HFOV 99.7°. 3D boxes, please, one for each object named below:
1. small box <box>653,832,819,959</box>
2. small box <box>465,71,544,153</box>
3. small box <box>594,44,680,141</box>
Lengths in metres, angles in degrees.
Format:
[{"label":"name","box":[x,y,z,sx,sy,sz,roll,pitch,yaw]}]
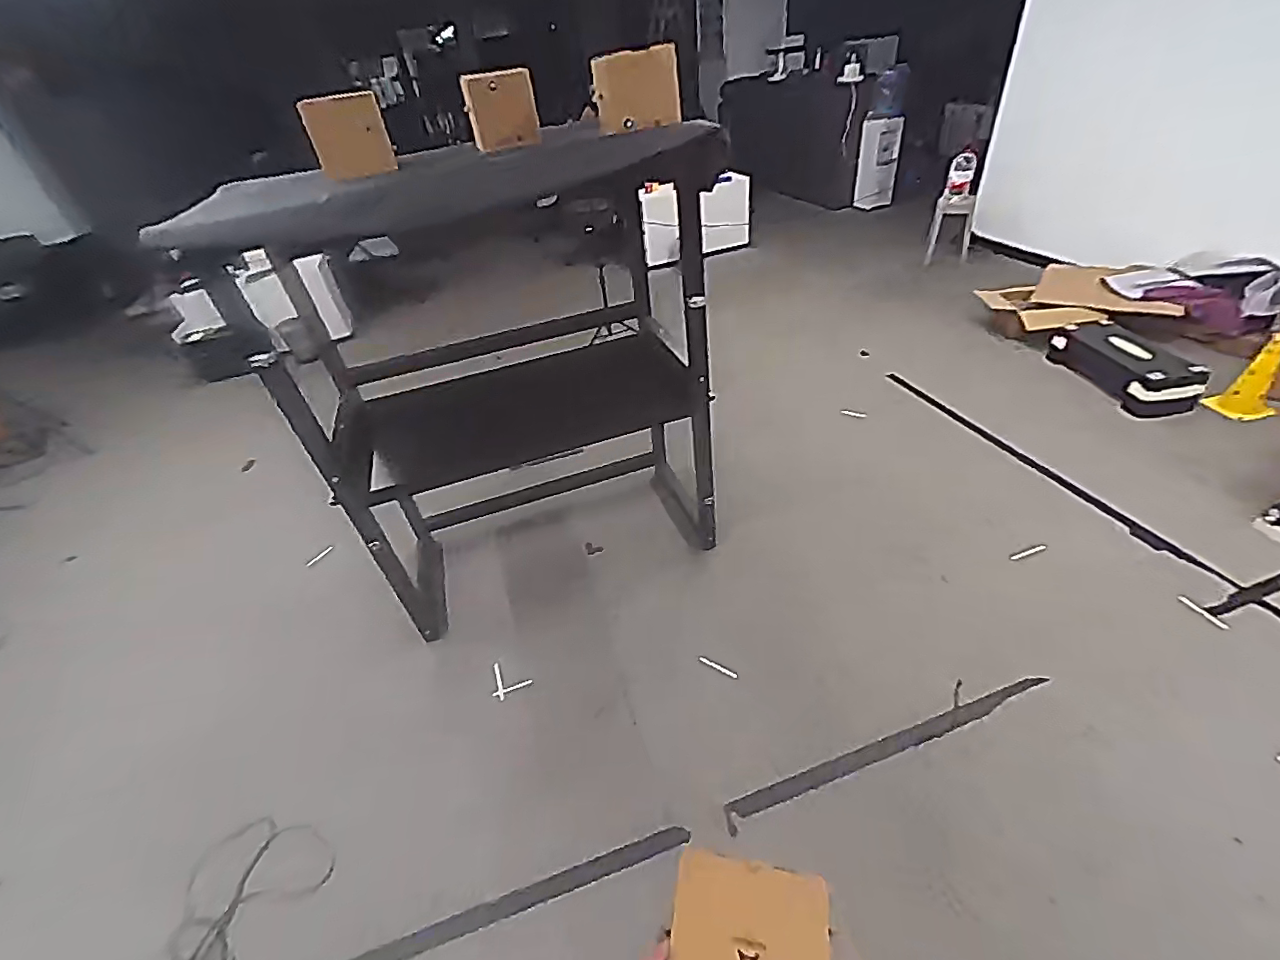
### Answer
[{"label":"small box","box":[0.101,0.535,0.608,0.168,0.176,0.179,7,42,7]},{"label":"small box","box":[-0.377,-1.020,1.501,0.168,0.176,0.179,-17,39,-11]},{"label":"small box","box":[-0.006,-0.950,1.338,0.168,0.176,0.179,-15,35,-8]}]
